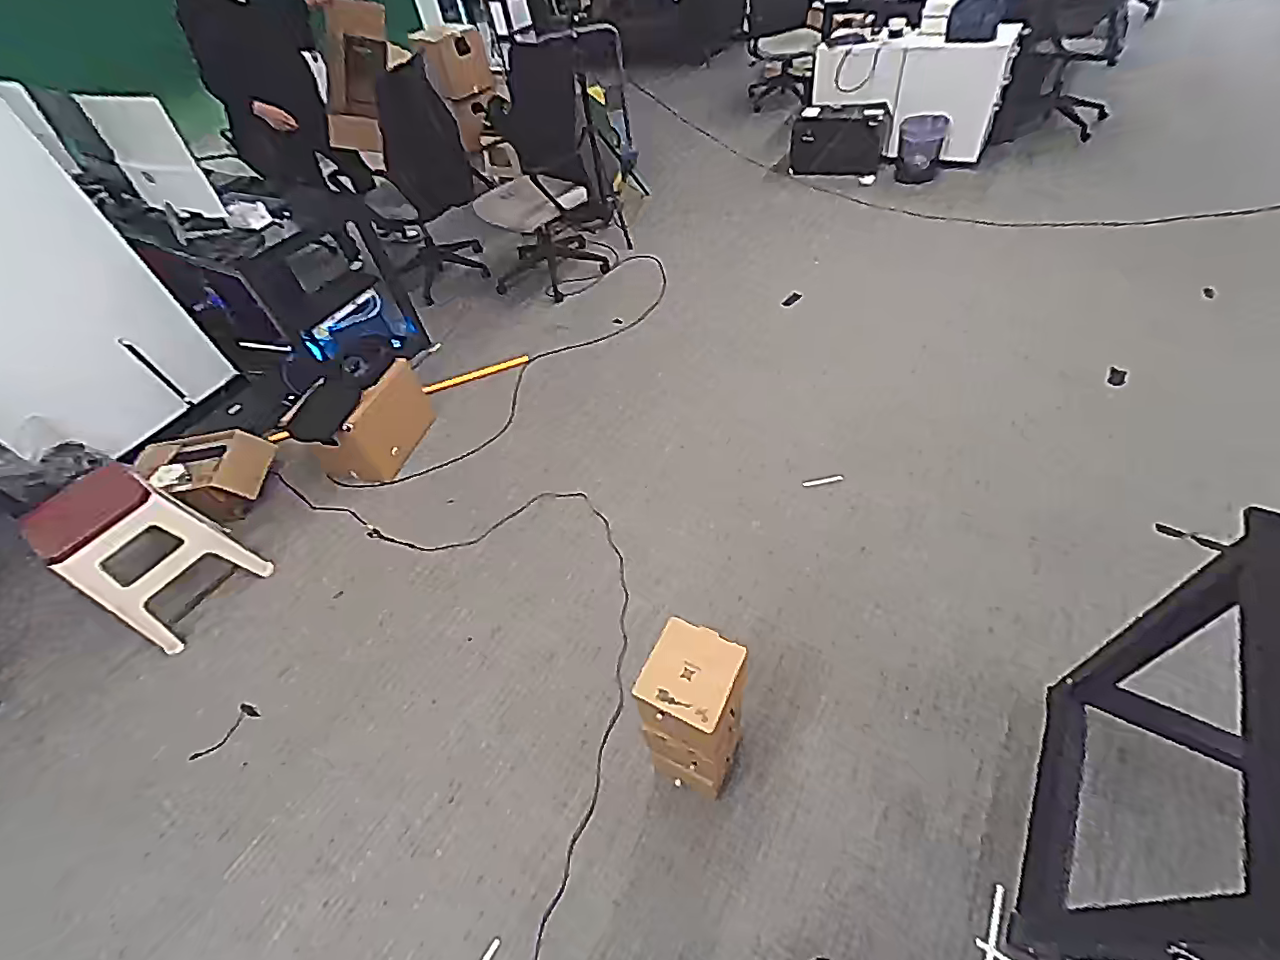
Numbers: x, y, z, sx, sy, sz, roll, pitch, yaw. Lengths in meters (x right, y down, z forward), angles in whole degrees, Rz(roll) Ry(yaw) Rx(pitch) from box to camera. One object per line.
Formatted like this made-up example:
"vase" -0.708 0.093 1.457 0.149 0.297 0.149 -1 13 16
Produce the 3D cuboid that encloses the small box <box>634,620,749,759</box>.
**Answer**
"small box" 0.105 0.418 1.077 0.168 0.176 0.179 18 54 24

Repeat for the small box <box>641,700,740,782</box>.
"small box" 0.120 0.532 1.195 0.168 0.176 0.179 16 52 21

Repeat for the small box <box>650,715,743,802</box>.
"small box" 0.140 0.643 1.312 0.168 0.176 0.179 18 55 24
